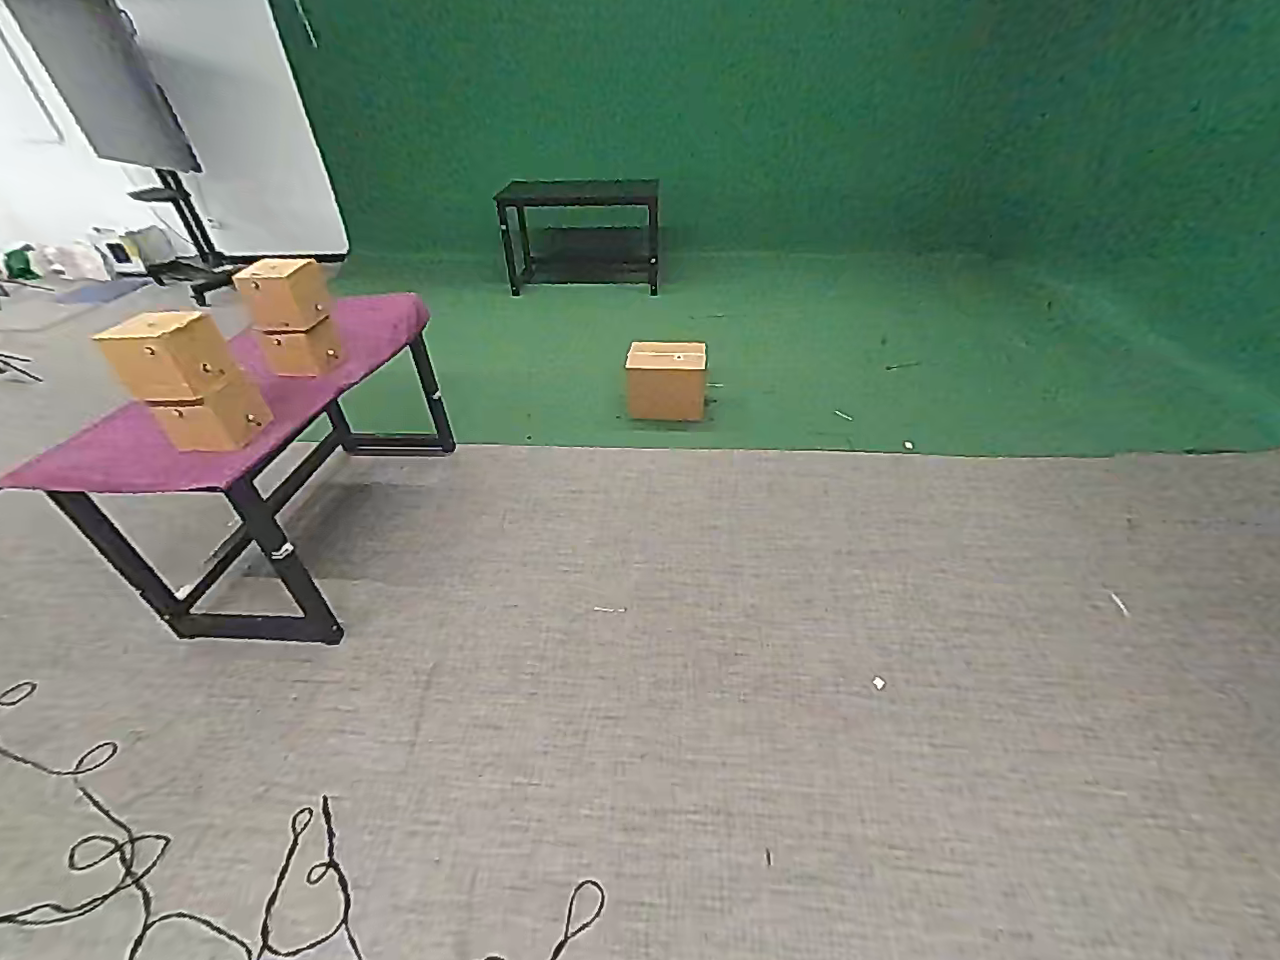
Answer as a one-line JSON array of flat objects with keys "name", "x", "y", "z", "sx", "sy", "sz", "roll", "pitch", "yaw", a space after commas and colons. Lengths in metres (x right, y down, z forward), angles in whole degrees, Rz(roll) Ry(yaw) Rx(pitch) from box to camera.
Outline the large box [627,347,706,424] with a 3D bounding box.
[{"name": "large box", "x": 0.145, "y": -0.508, "z": 2.893, "sx": 0.408, "sy": 0.320, "sz": 0.320, "roll": 3, "pitch": 38, "yaw": 6}]

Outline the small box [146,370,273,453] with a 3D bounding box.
[{"name": "small box", "x": -1.156, "y": -0.185, "z": 1.466, "sx": 0.179, "sy": 0.176, "sz": 0.168, "roll": 0, "pitch": 38, "yaw": 4}]

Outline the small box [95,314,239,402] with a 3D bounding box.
[{"name": "small box", "x": -1.171, "y": -0.304, "z": 1.356, "sx": 0.179, "sy": 0.176, "sz": 0.168, "roll": 0, "pitch": 37, "yaw": 5}]

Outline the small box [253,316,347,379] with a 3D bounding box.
[{"name": "small box", "x": -1.130, "y": -0.449, "z": 1.811, "sx": 0.179, "sy": 0.176, "sz": 0.168, "roll": 2, "pitch": 38, "yaw": 5}]

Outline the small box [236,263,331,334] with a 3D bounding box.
[{"name": "small box", "x": -1.108, "y": -0.573, "z": 1.702, "sx": 0.168, "sy": 0.176, "sz": 0.179, "roll": 0, "pitch": 38, "yaw": 3}]
